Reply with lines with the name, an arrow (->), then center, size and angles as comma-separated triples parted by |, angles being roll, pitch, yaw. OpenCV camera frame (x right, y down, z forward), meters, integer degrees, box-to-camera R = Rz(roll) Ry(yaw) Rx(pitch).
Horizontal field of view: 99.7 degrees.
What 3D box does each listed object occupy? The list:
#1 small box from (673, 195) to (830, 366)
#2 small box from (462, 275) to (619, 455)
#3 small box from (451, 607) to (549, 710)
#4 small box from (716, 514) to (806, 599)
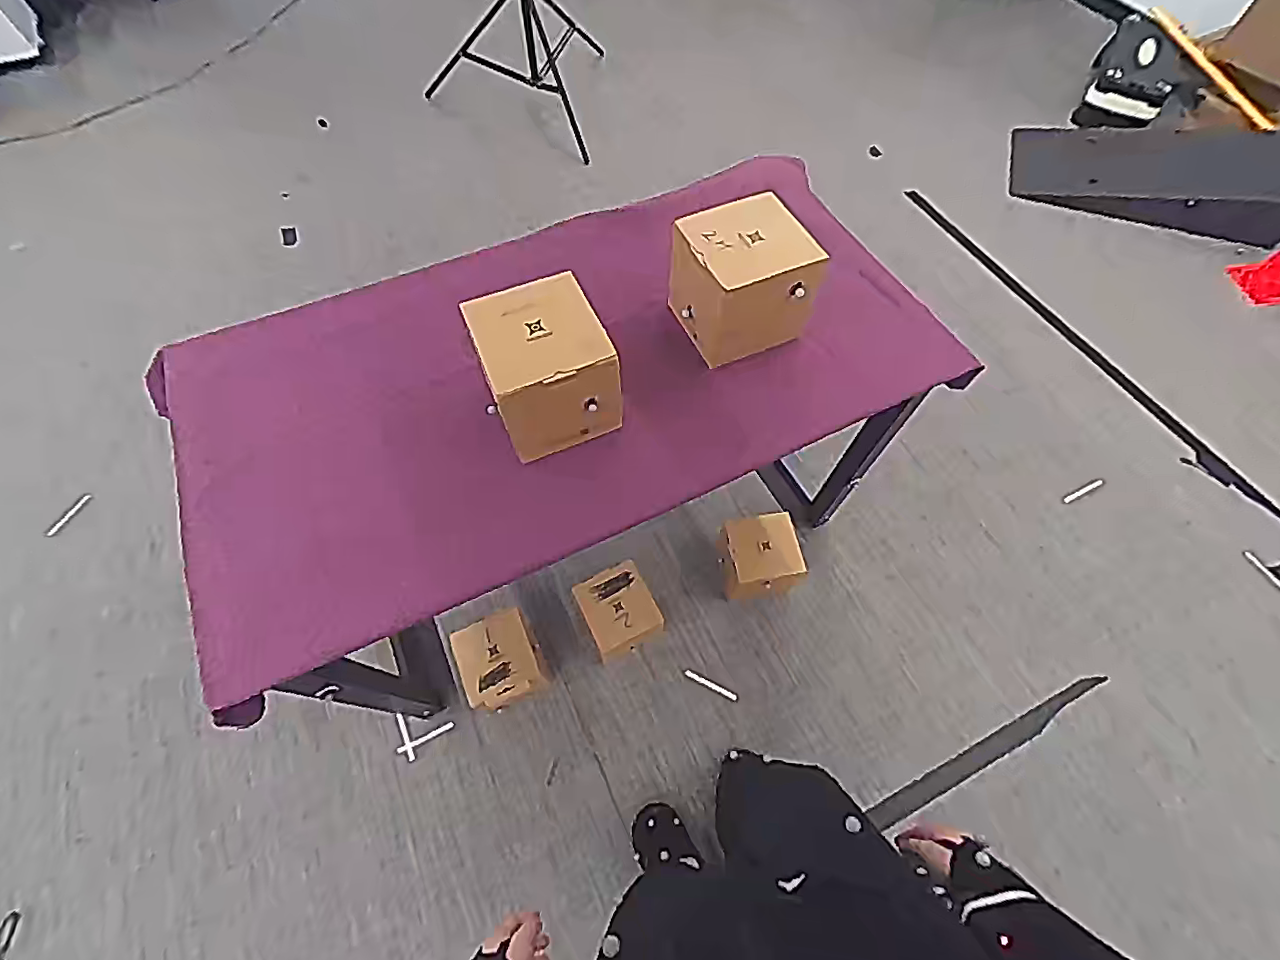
small box -> 0.165, -0.314, 0.868 | 0.179, 0.176, 0.168 | -22, 64, -11
small box -> -0.135, -0.157, 0.785 | 0.168, 0.176, 0.179 | -22, 63, -13
small box -> -0.329, 0.435, 1.297 | 0.168, 0.176, 0.179 | -22, 64, -12
small box -> 0.310, 0.204, 1.425 | 0.179, 0.176, 0.168 | -8, 64, -4
